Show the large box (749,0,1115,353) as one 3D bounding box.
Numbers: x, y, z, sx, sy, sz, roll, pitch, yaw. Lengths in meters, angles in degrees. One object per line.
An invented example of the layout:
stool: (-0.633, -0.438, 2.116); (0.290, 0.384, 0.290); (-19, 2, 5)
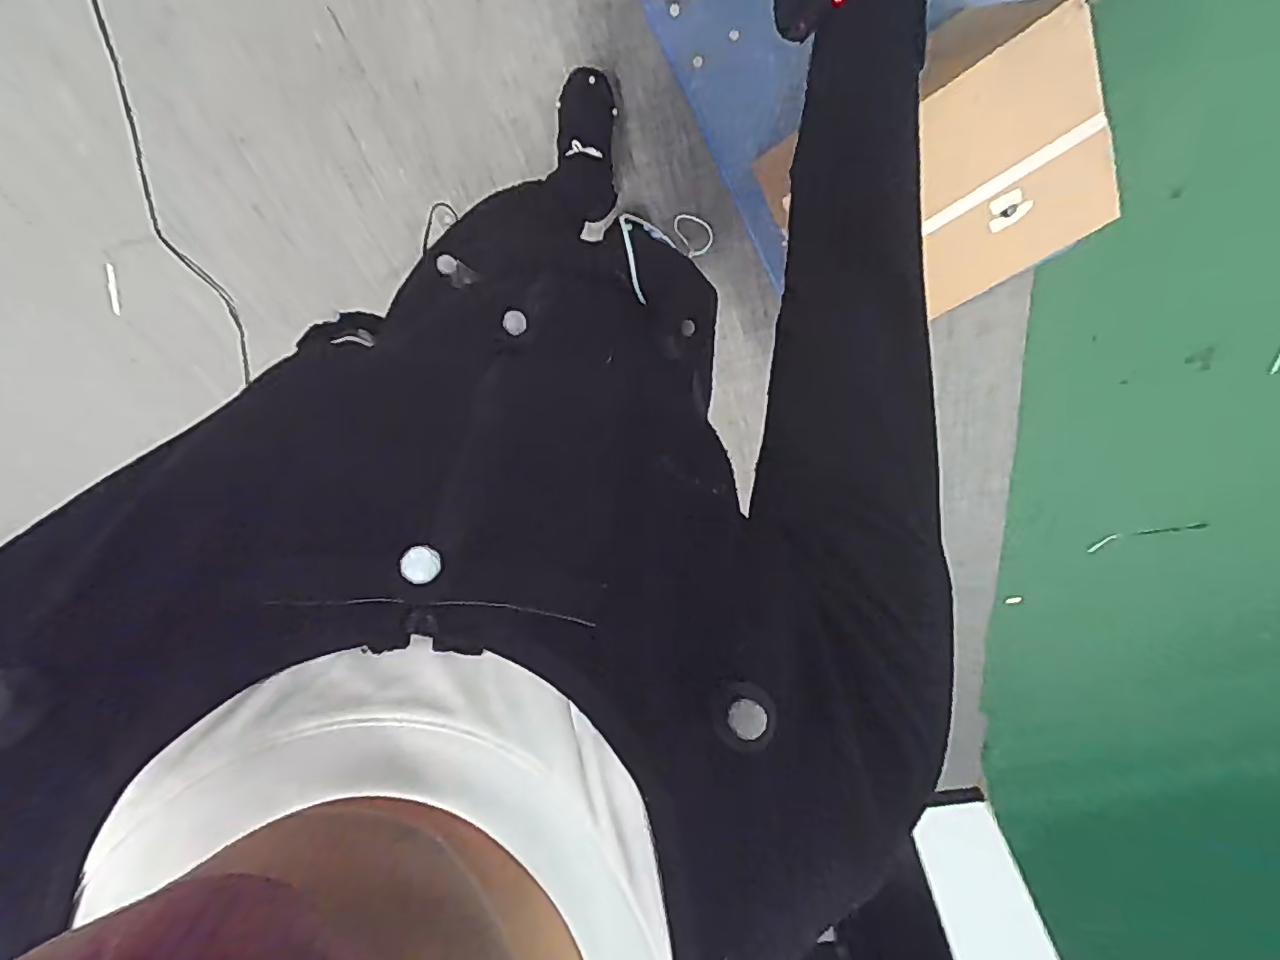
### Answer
large box: (0.450, -0.497, 0.909); (0.408, 0.320, 0.320); (-30, 124, 21)
